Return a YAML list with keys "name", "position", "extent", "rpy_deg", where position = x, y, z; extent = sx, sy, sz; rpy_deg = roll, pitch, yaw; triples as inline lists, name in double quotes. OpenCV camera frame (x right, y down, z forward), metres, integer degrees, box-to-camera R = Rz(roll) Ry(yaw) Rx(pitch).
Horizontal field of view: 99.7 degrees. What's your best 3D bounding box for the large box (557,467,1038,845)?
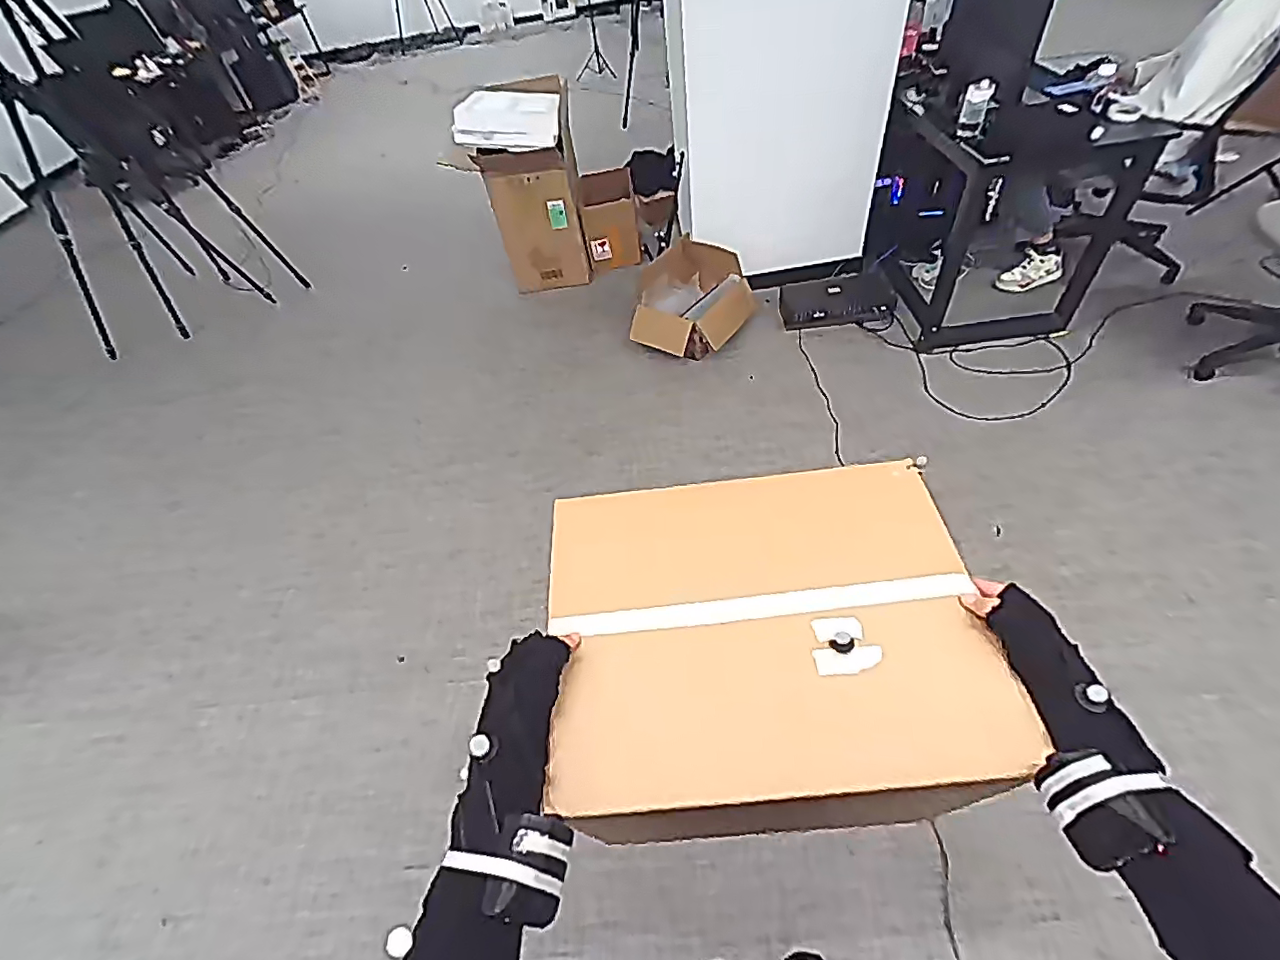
- name: "large box"
  position: [0.129, 0.220, 0.648]
  extent: [0.408, 0.320, 0.320]
  rpy_deg: [-7, 52, 3]
